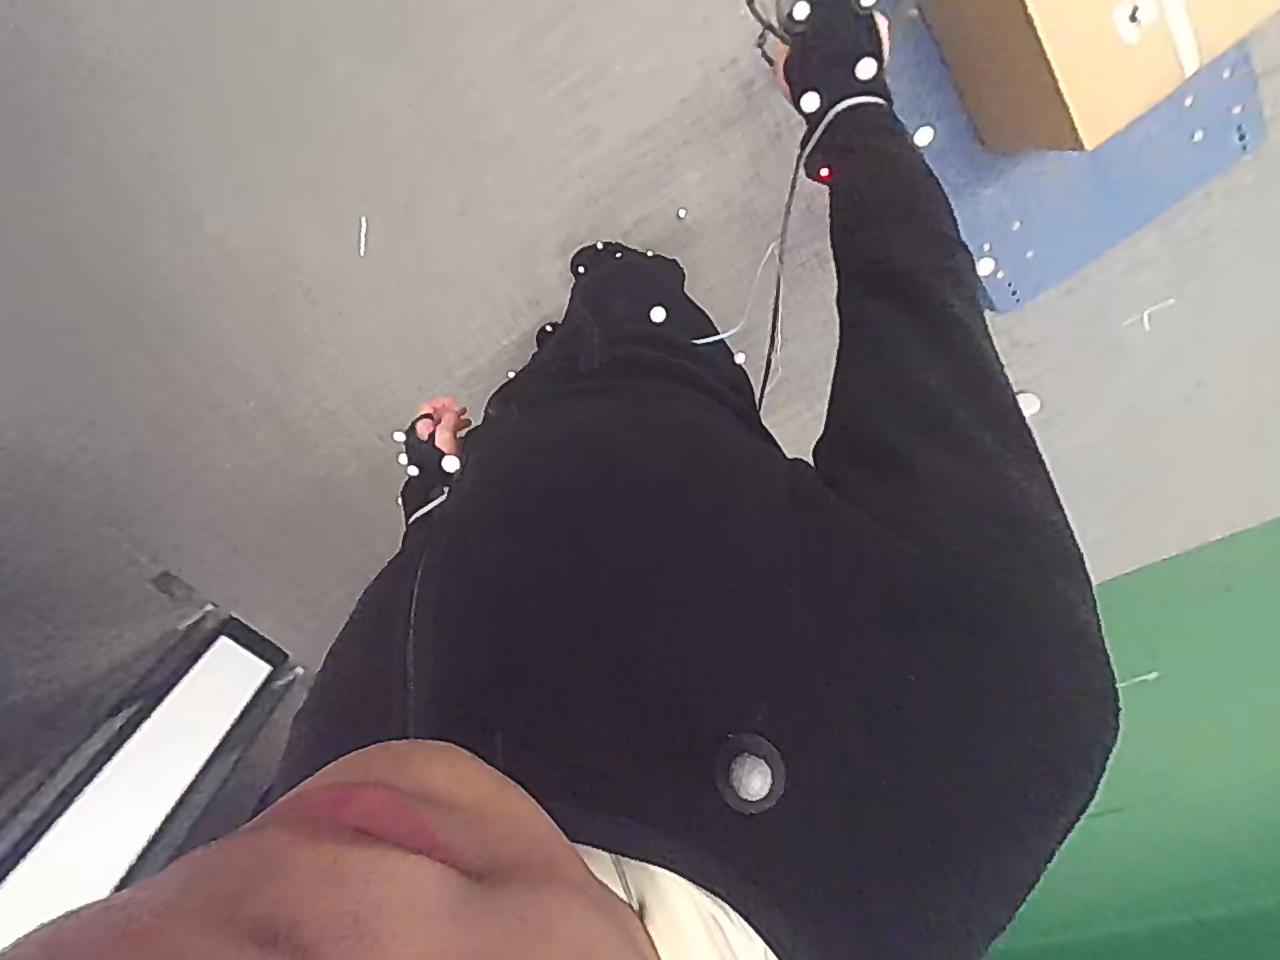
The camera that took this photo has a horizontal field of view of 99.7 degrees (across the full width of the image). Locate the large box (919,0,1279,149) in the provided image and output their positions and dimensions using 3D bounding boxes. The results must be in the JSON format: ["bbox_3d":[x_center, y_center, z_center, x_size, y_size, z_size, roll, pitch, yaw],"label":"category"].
[{"bbox_3d":[0.722,-0.829,0.884,0.320,0.320,0.408,-37,115,22],"label":"large box"}]
